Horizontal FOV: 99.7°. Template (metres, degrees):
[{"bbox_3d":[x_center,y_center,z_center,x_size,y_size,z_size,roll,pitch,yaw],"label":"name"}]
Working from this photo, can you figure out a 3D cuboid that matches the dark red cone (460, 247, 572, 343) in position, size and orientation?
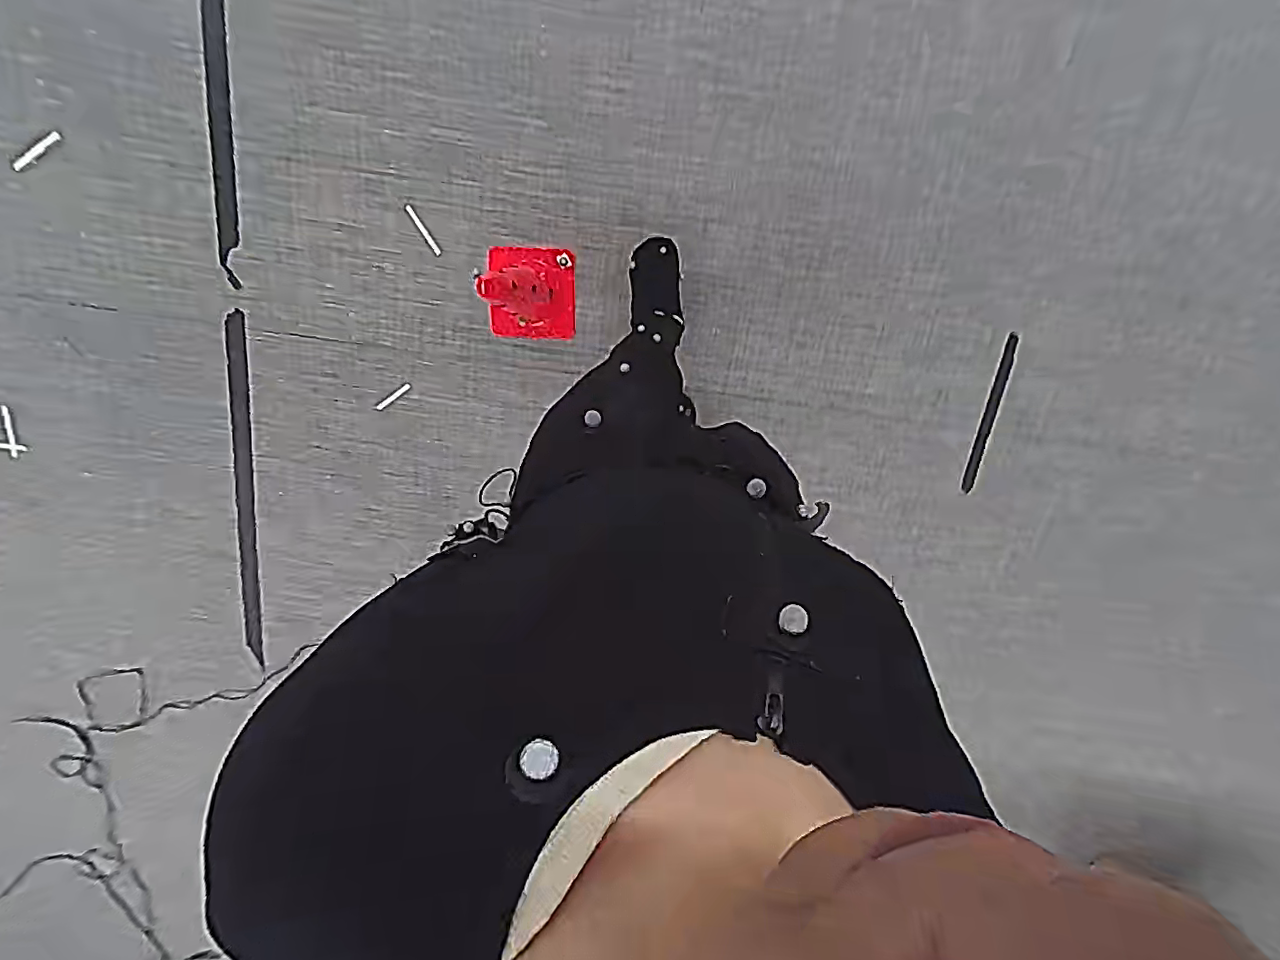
[{"bbox_3d":[-0.263,-0.364,1.056,0.201,0.394,0.202,1,107,2],"label":"dark red cone"}]
